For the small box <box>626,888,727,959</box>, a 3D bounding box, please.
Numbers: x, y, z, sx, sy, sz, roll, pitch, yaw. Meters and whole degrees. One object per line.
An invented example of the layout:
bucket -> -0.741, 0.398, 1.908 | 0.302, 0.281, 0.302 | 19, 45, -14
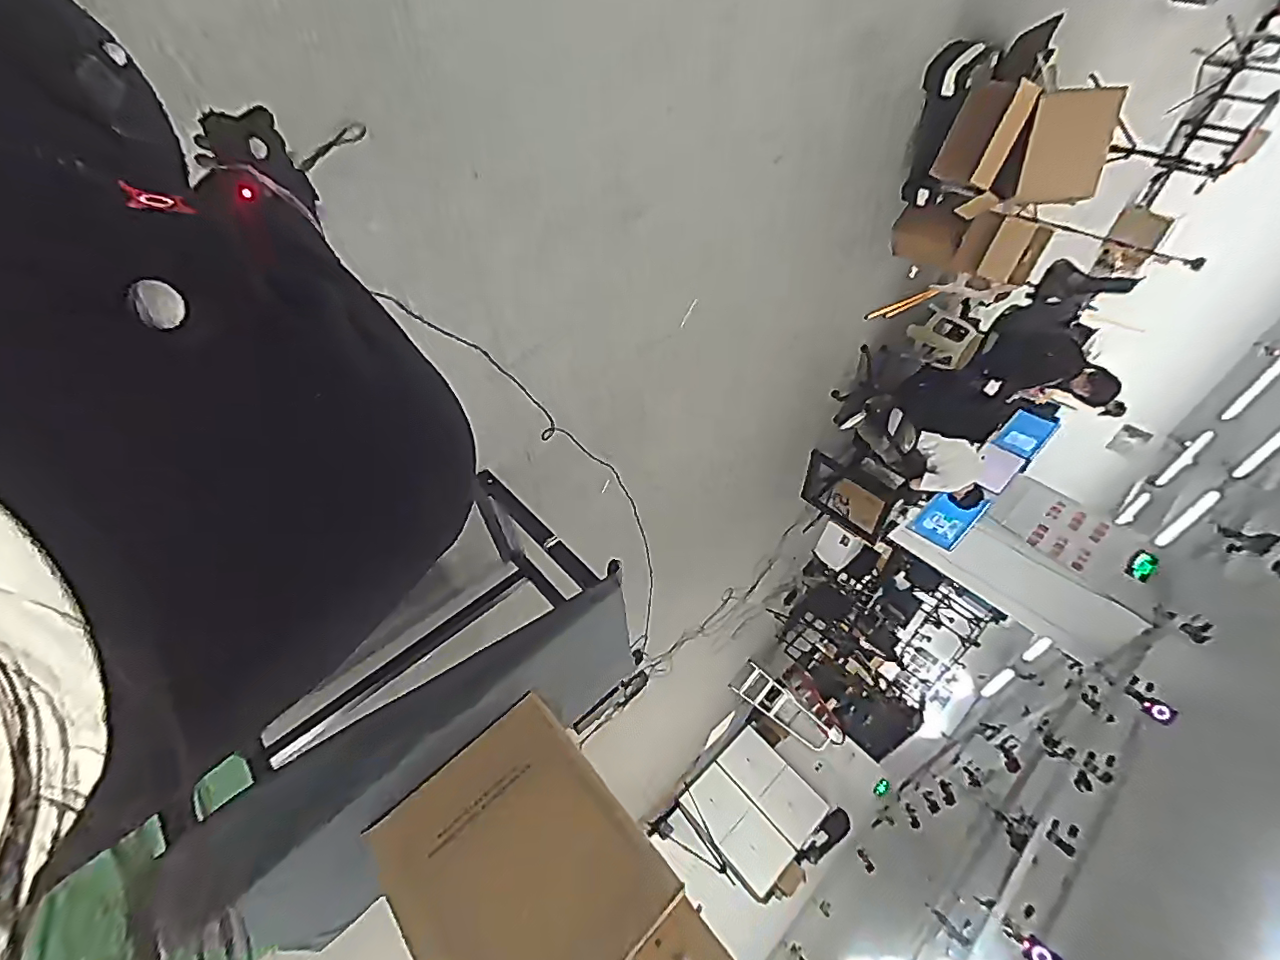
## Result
small box -> 0.085, 1.090, 1.253 | 0.168, 0.176, 0.179 | -40, 146, -21
